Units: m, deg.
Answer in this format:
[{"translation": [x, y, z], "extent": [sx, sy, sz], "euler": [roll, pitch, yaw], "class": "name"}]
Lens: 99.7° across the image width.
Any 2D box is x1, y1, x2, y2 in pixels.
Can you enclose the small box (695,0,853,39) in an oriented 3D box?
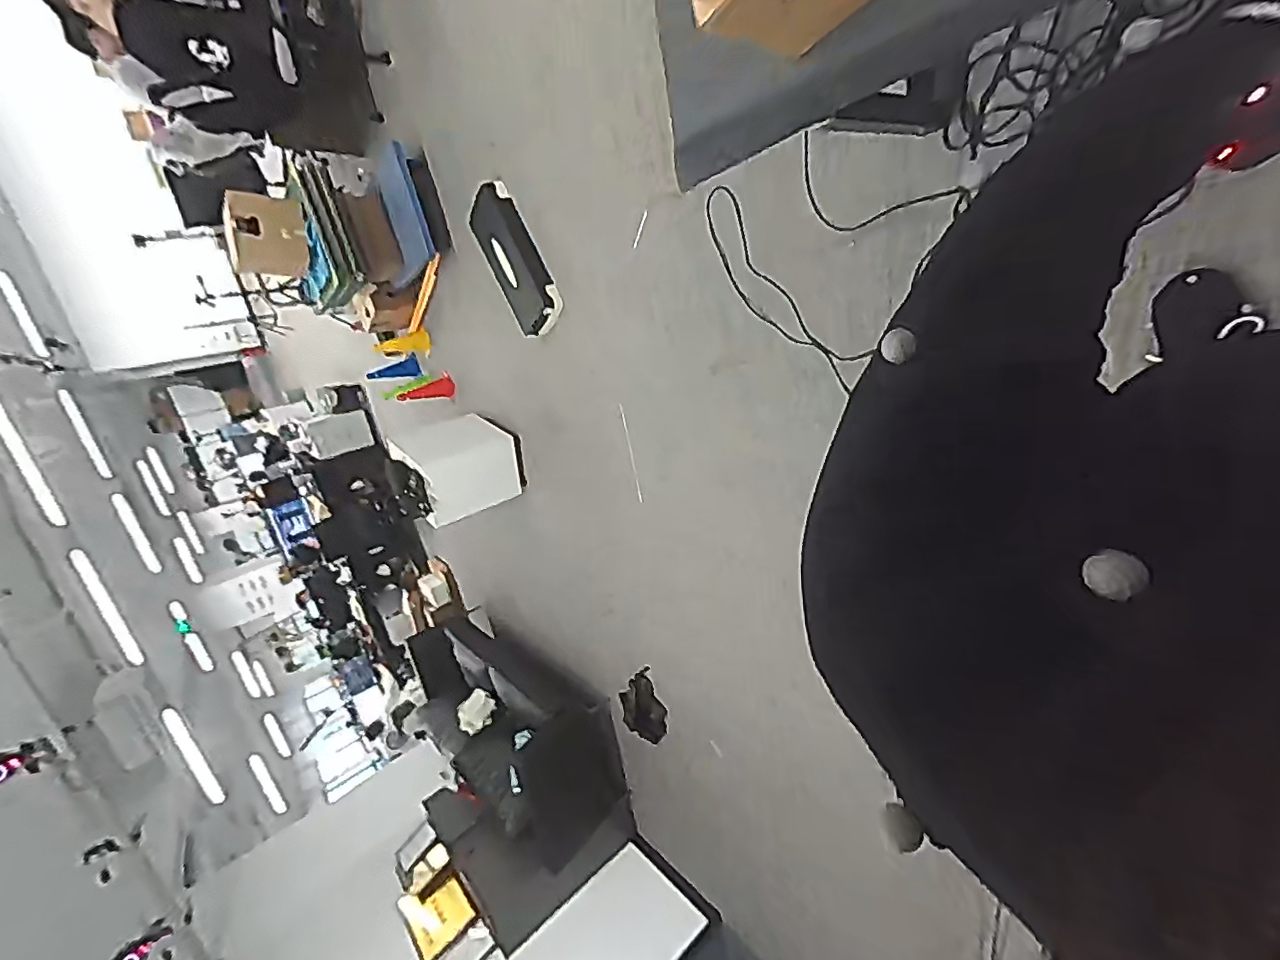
[{"translation": [0.148, -0.541, 0.478], "extent": [0.179, 0.176, 0.168], "euler": [-3, 106, 53], "class": "small box"}]
